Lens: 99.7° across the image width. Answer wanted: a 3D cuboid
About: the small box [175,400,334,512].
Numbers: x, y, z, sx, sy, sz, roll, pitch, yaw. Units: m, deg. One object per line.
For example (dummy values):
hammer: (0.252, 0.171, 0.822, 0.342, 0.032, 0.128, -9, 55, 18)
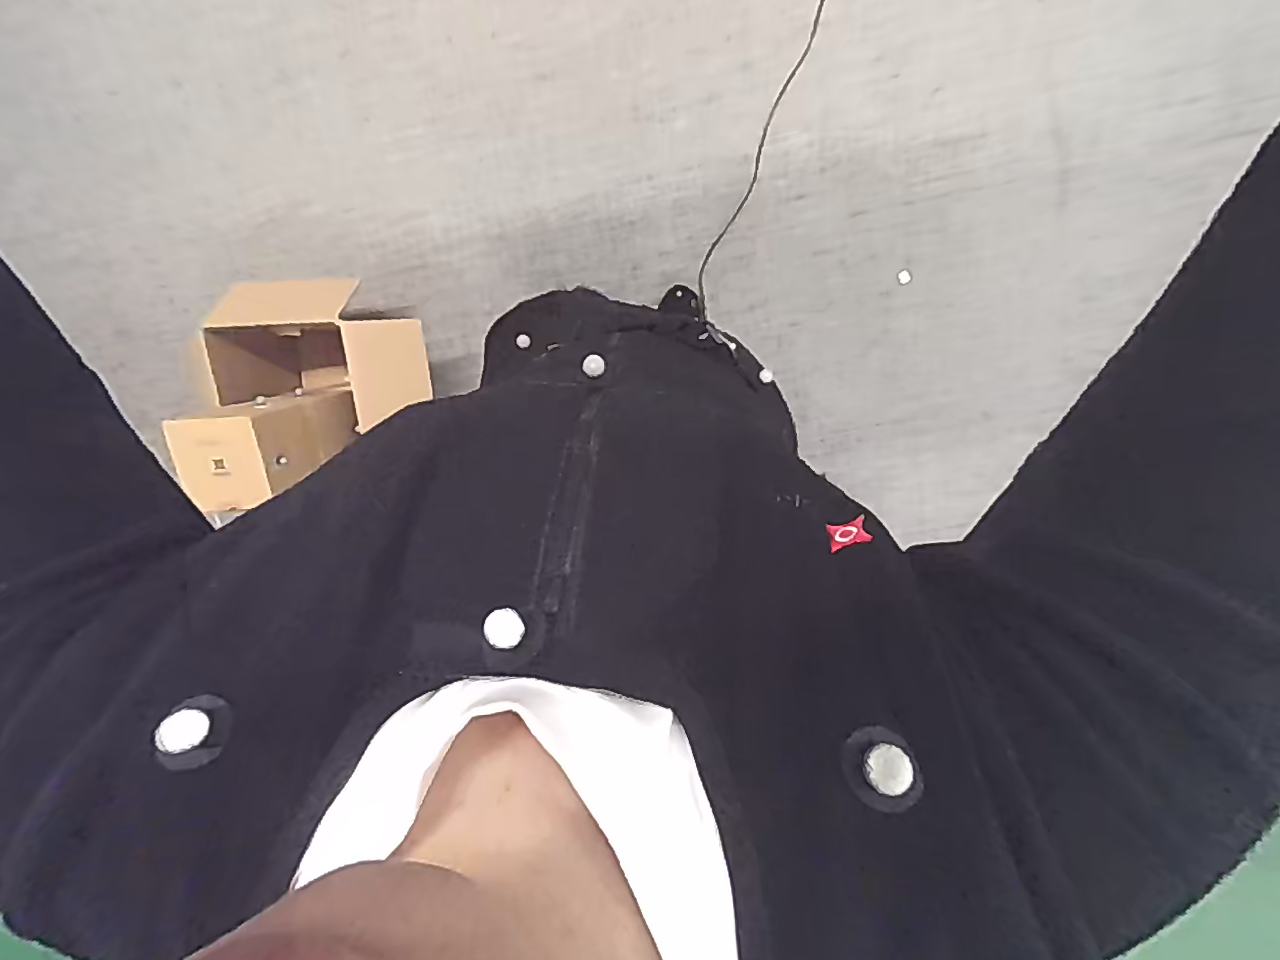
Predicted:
small box: (-0.732, -0.052, 1.052, 0.168, 0.176, 0.179, -4, 107, 3)
